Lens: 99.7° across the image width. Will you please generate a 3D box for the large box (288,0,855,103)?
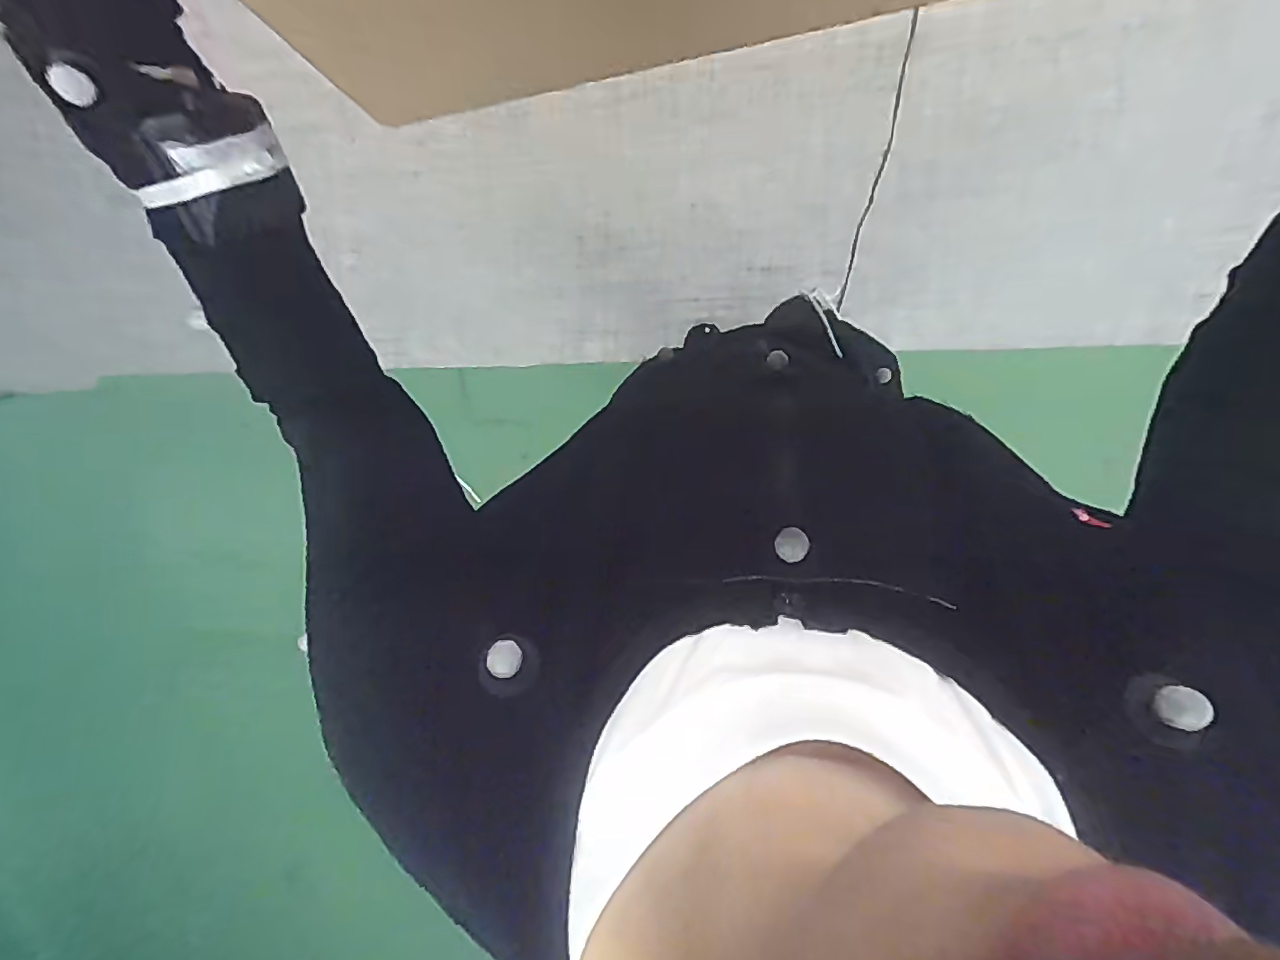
[{"bbox_3d":[0.020,-0.356,0.101,0.408,0.320,0.320,-2,90,13],"label":"large box"}]
